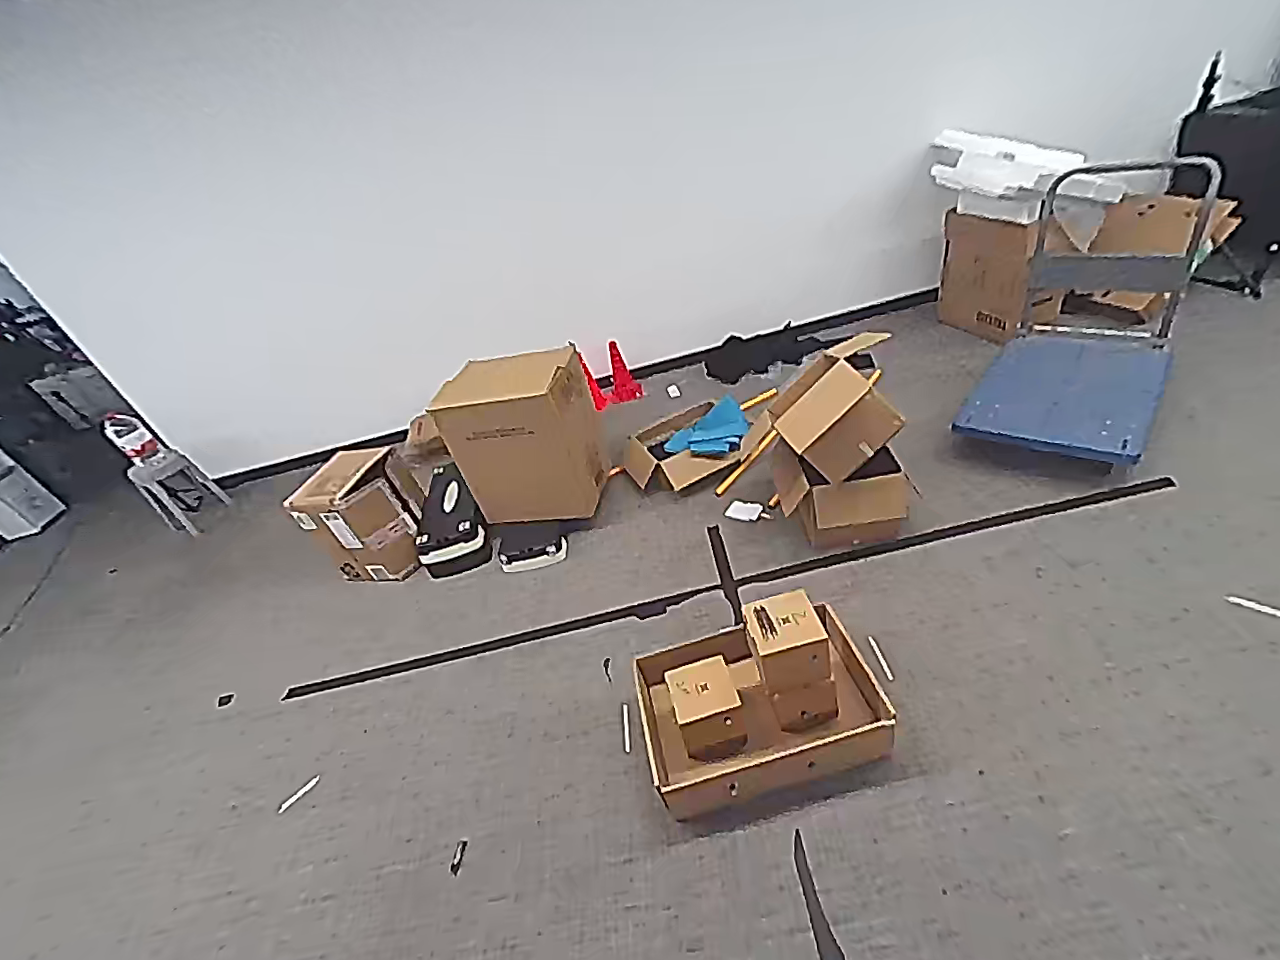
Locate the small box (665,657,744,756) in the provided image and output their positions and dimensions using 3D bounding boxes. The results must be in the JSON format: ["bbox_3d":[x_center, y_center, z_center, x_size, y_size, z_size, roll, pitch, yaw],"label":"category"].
[{"bbox_3d":[0.182,0.630,1.505,0.179,0.176,0.168,-17,34,-2],"label":"small box"}]

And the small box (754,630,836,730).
[{"bbox_3d":[0.431,0.558,1.508,0.168,0.176,0.179,-18,35,1],"label":"small box"}]
